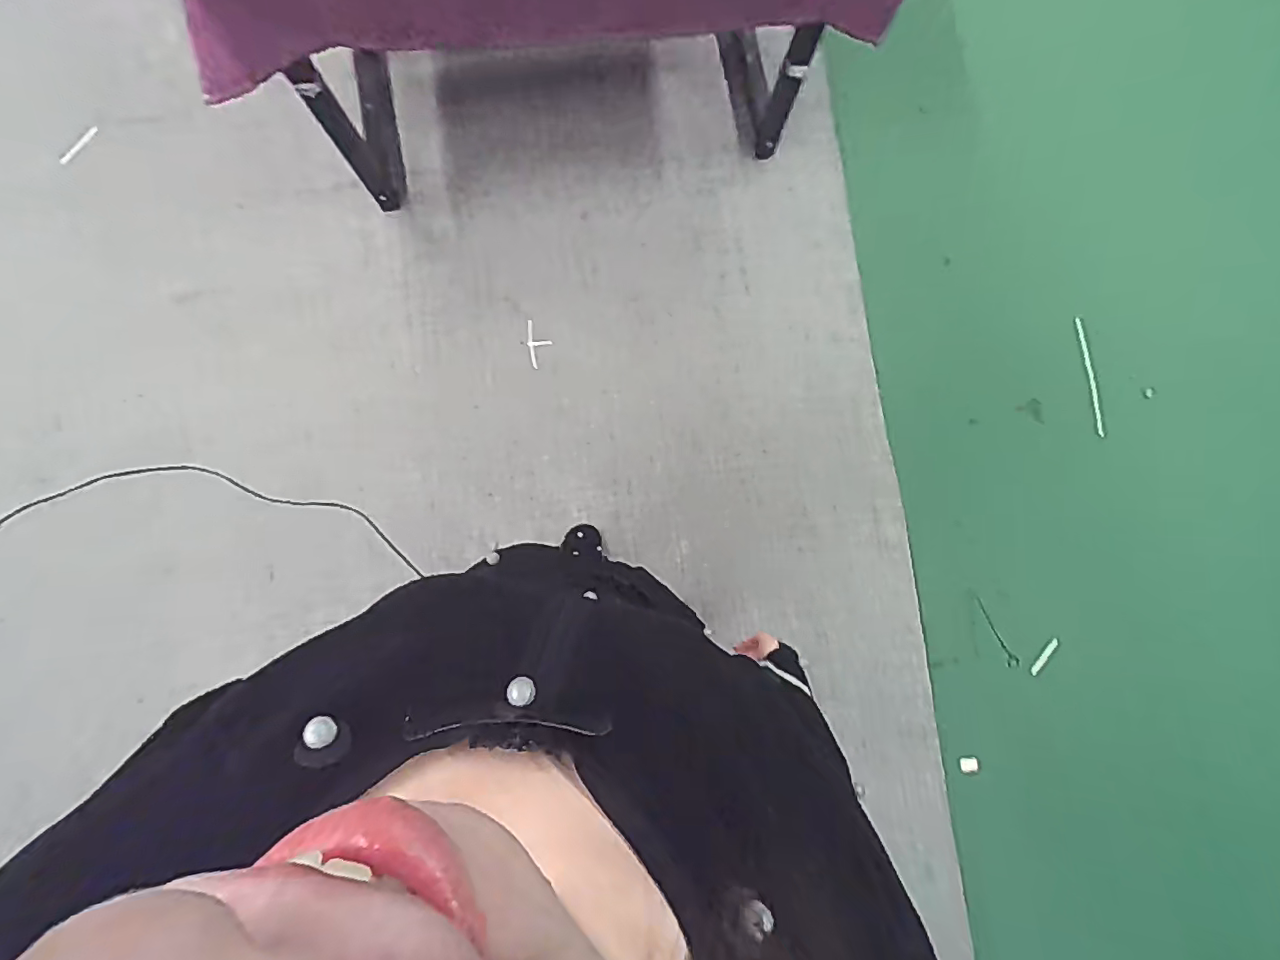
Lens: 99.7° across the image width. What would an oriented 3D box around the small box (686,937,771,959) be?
[{"bbox_3d":[0.183,1.024,1.038,0.168,0.176,0.179,-3,86,-3],"label":"small box"}]
